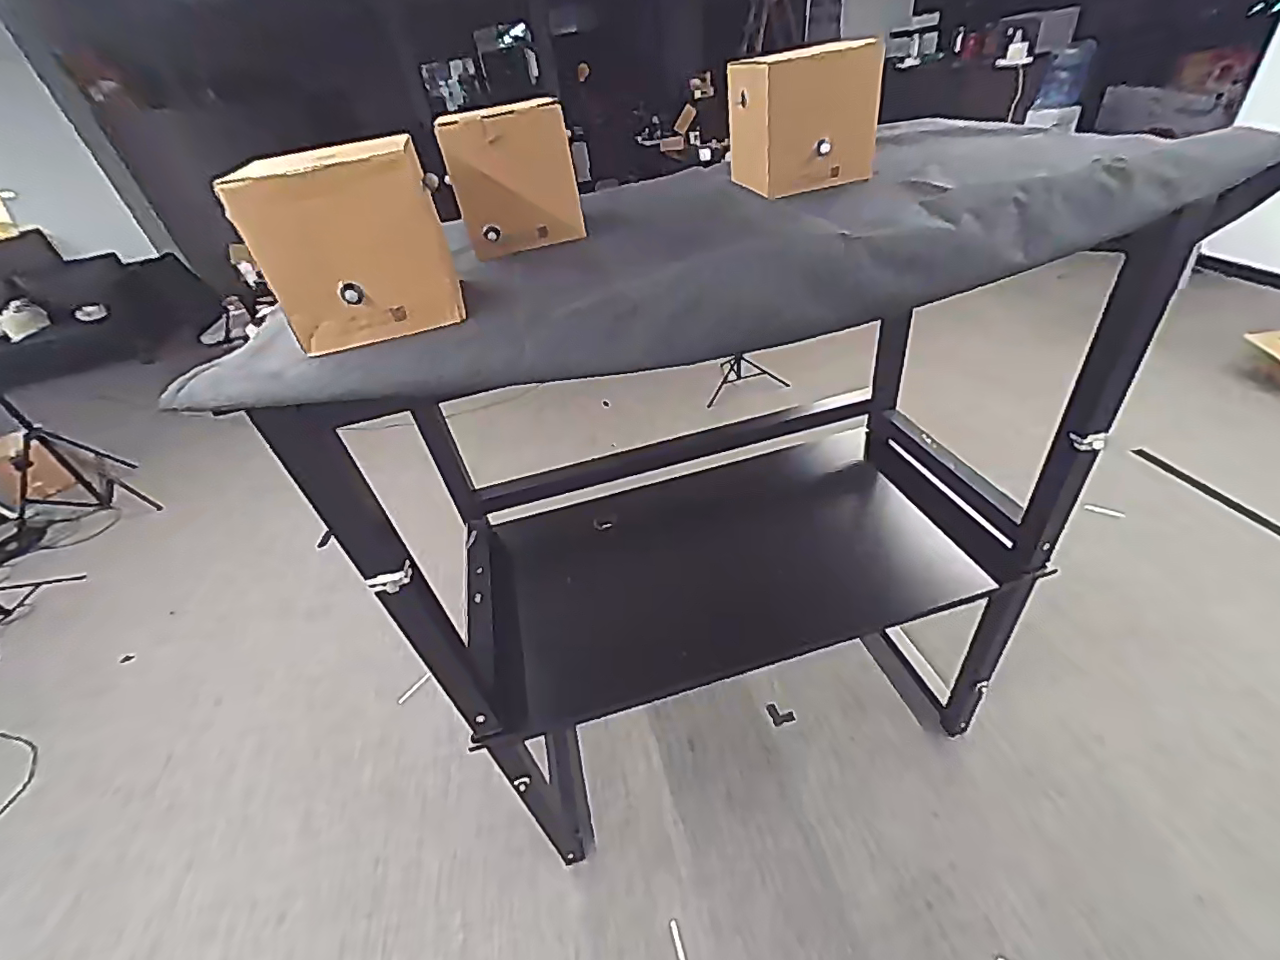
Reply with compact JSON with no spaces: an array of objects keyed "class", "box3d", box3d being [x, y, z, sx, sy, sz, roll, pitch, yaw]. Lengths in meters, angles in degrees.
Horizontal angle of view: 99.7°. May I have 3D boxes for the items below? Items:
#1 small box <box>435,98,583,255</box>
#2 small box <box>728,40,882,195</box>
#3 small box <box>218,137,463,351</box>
[{"class":"small box","box3d":[-0.189,-0.448,0.803,0.168,0.176,0.179,-15,38,-6]},{"class":"small box","box3d":[0.241,-0.554,0.833,0.168,0.176,0.179,-14,38,-3]},{"class":"small box","box3d":[-0.305,-0.262,0.595,0.168,0.176,0.179,-17,39,-9]}]
